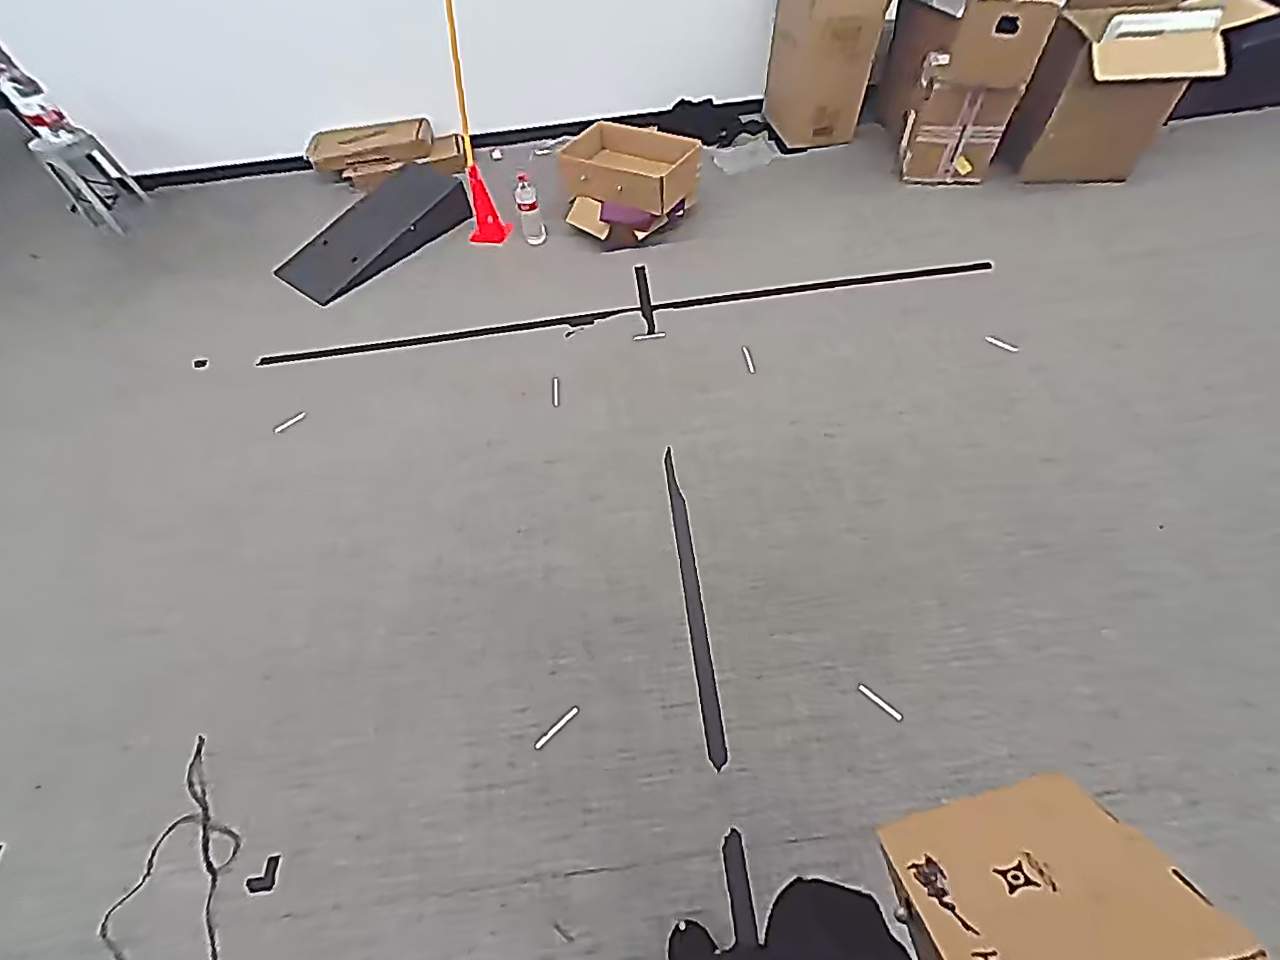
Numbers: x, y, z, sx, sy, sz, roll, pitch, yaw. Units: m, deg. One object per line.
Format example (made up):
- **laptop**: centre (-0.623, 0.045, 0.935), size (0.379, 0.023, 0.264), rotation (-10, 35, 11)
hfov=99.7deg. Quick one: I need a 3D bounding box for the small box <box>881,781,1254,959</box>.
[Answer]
- **small box**: centre (0.325, 0.385, 0.425), size (0.179, 0.168, 0.176), rotation (-19, 94, 4)
